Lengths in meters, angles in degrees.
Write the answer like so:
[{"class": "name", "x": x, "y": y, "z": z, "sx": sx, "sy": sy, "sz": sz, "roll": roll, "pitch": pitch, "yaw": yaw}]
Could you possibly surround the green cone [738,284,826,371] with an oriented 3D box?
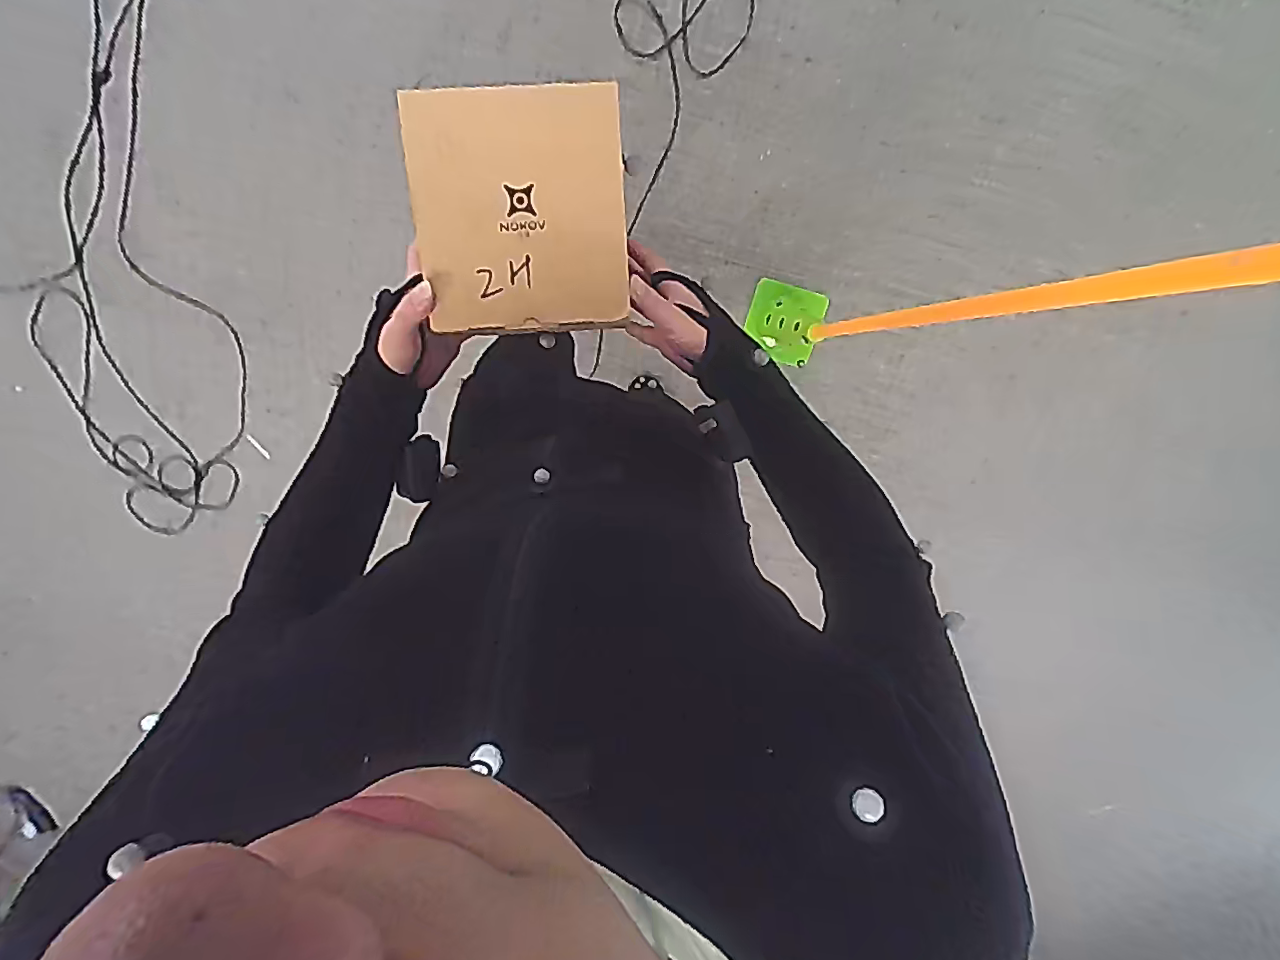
[{"class": "green cone", "x": 0.378, "y": -0.364, "z": 1.318, "sx": 0.202, "sy": 0.368, "sz": 0.200, "roll": 15, "pitch": 108, "yaw": -1}]
